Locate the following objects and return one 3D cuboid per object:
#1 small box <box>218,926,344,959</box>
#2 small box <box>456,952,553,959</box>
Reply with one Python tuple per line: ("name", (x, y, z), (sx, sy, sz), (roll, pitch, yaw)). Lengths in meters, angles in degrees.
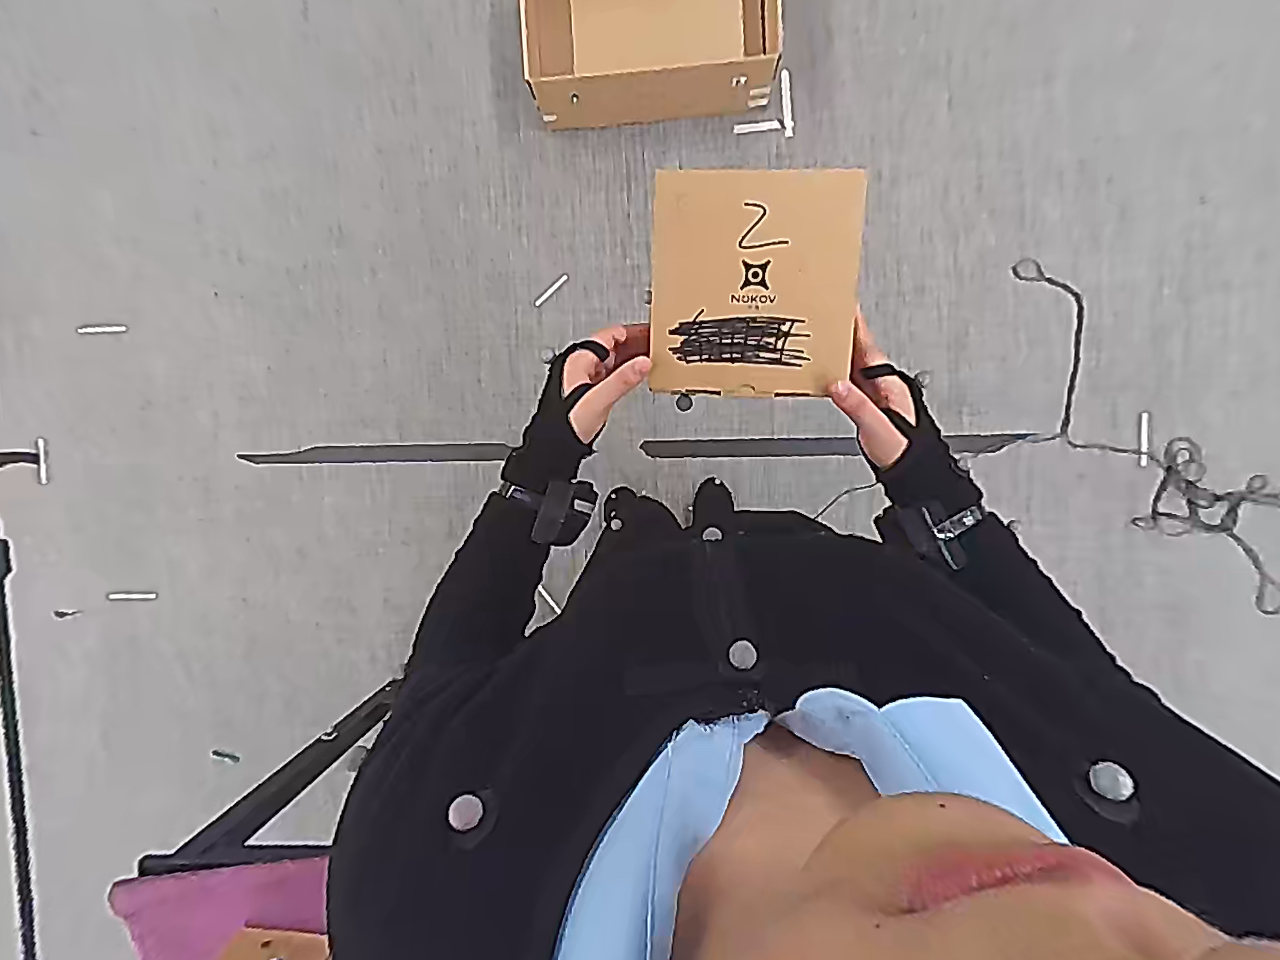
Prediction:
("small box", (-0.540, 0.787, 0.757), (0.168, 0.176, 0.179), (2, 94, 4))
("small box", (-0.196, 0.788, 0.731), (0.168, 0.176, 0.179), (-11, 92, 5))
